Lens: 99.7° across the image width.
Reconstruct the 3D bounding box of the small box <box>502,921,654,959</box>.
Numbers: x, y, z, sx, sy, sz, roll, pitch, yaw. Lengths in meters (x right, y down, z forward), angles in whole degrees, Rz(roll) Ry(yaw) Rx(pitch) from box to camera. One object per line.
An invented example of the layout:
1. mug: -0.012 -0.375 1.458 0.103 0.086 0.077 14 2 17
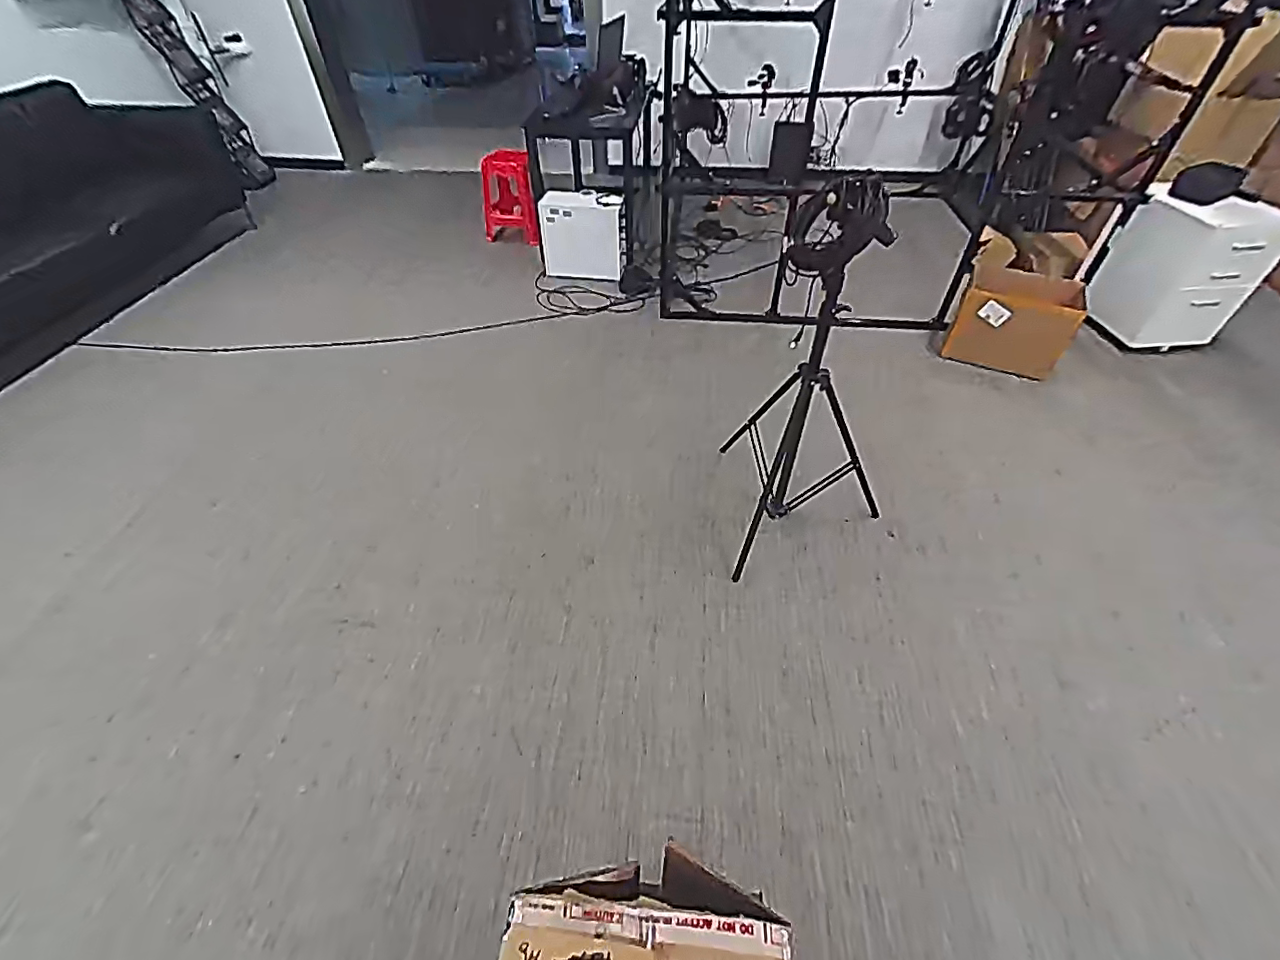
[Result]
1. small box: -0.071 0.615 0.594 0.168 0.176 0.179 4 47 7
